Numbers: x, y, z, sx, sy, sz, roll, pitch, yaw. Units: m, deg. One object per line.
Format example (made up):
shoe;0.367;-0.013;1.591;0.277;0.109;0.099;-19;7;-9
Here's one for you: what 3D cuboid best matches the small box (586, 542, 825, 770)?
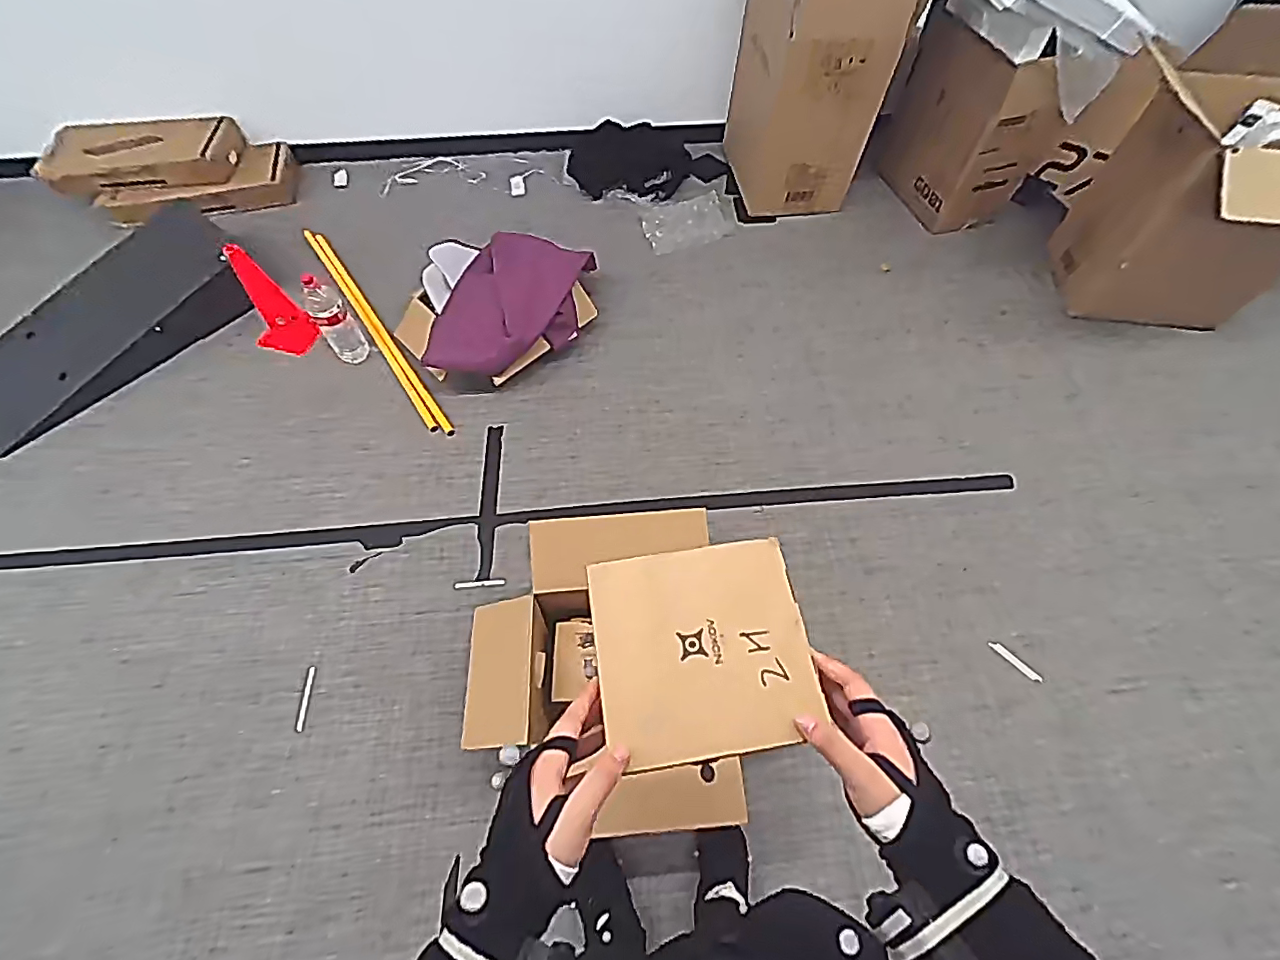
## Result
small box;0.048;0.175;0.519;0.179;0.176;0.168;-7;63;-5
